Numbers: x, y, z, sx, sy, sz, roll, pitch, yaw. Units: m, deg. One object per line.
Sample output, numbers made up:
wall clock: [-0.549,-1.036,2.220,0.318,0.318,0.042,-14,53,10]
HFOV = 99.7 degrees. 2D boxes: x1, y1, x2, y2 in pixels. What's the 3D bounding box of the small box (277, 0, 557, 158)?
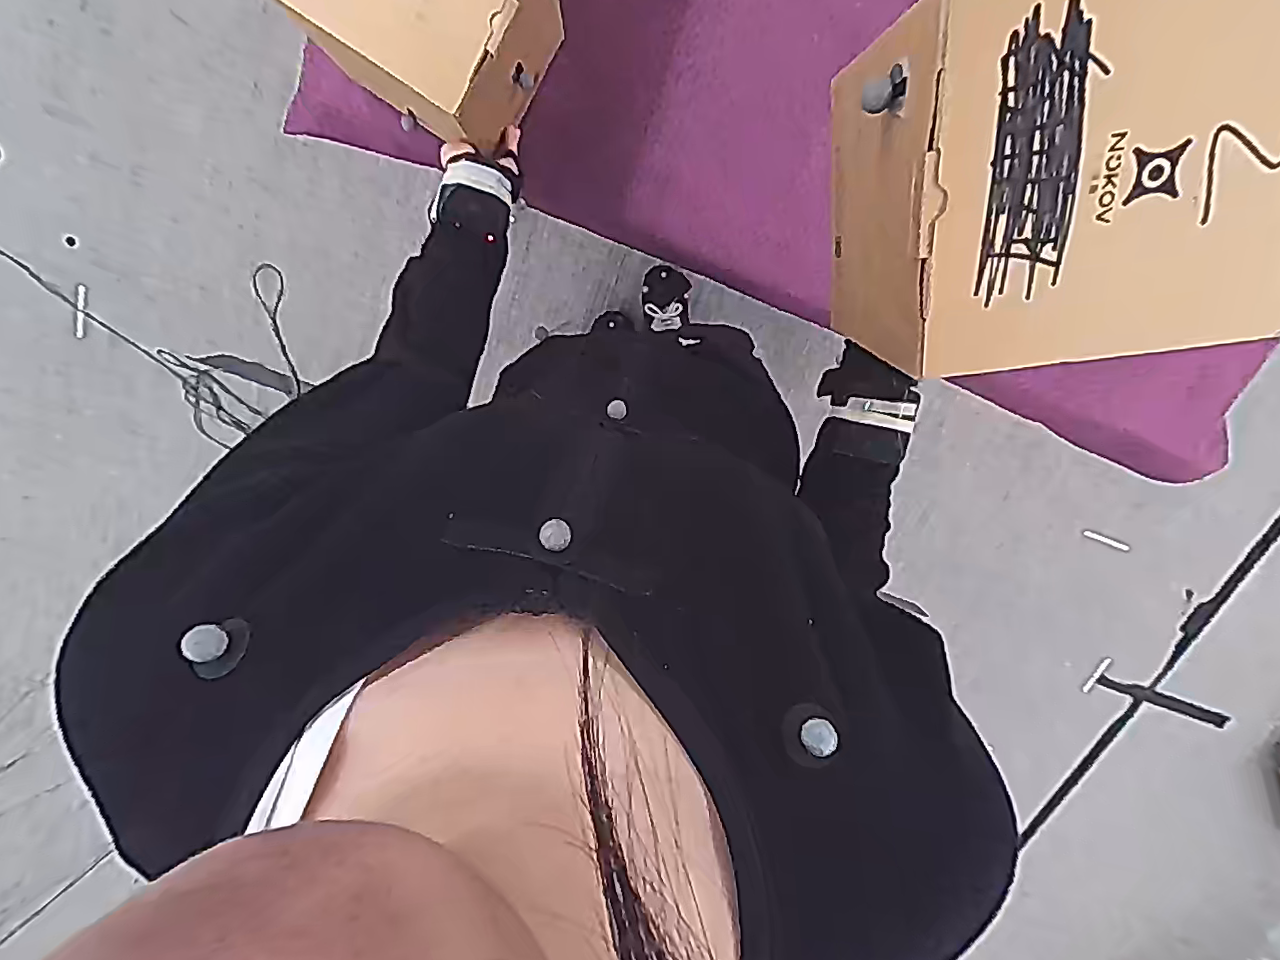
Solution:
small box: [-0.192,-0.441,0.513,0.179,0.176,0.168,30,101,-12]
